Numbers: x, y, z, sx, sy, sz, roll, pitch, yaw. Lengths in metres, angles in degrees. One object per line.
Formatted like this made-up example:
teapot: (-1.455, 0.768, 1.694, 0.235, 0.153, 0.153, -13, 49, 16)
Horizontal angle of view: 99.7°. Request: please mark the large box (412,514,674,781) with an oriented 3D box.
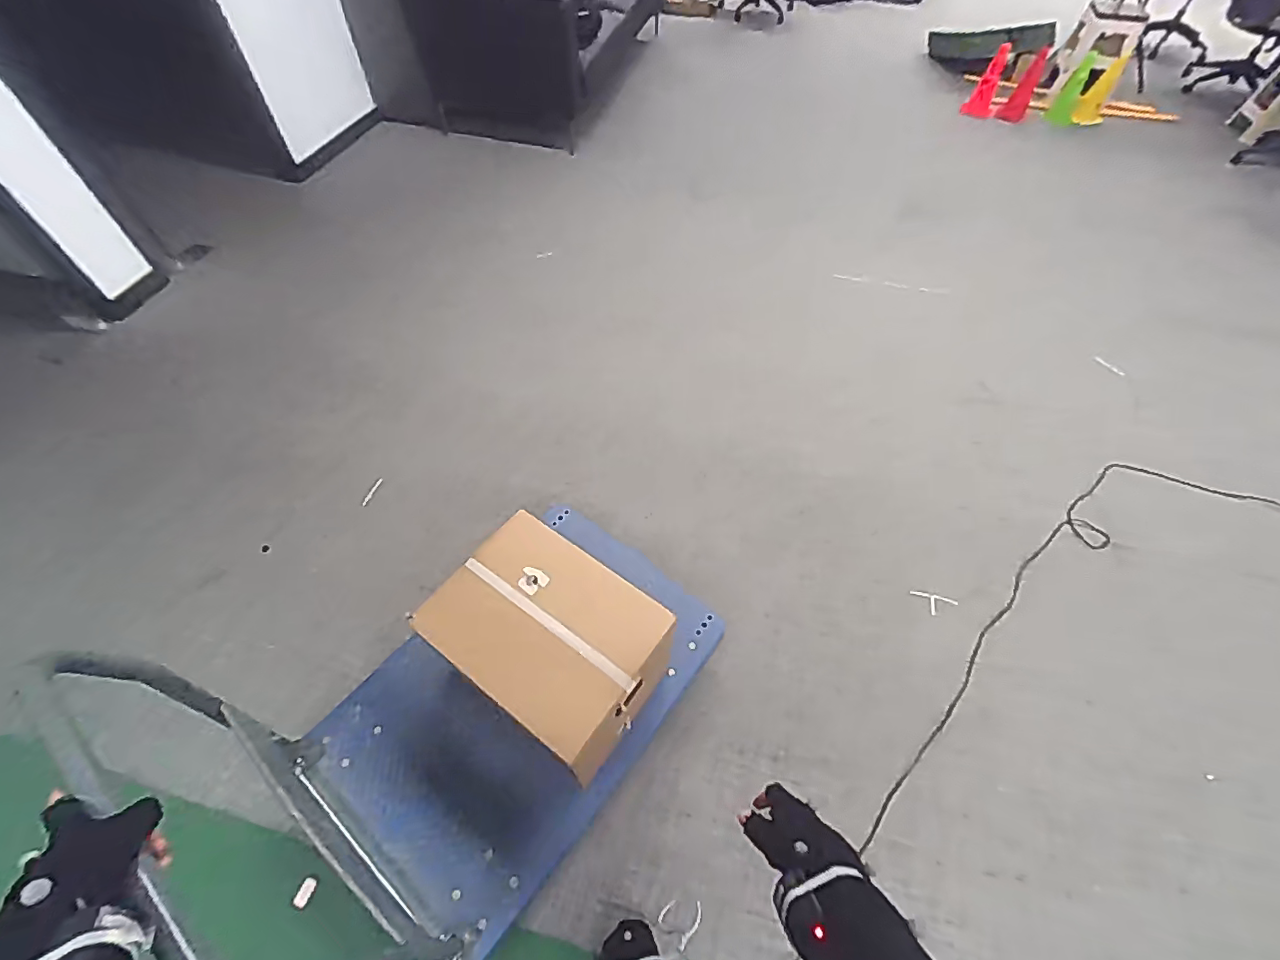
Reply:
large box: (-0.178, 0.350, 1.133, 0.408, 0.320, 0.320, 31, 59, 21)
